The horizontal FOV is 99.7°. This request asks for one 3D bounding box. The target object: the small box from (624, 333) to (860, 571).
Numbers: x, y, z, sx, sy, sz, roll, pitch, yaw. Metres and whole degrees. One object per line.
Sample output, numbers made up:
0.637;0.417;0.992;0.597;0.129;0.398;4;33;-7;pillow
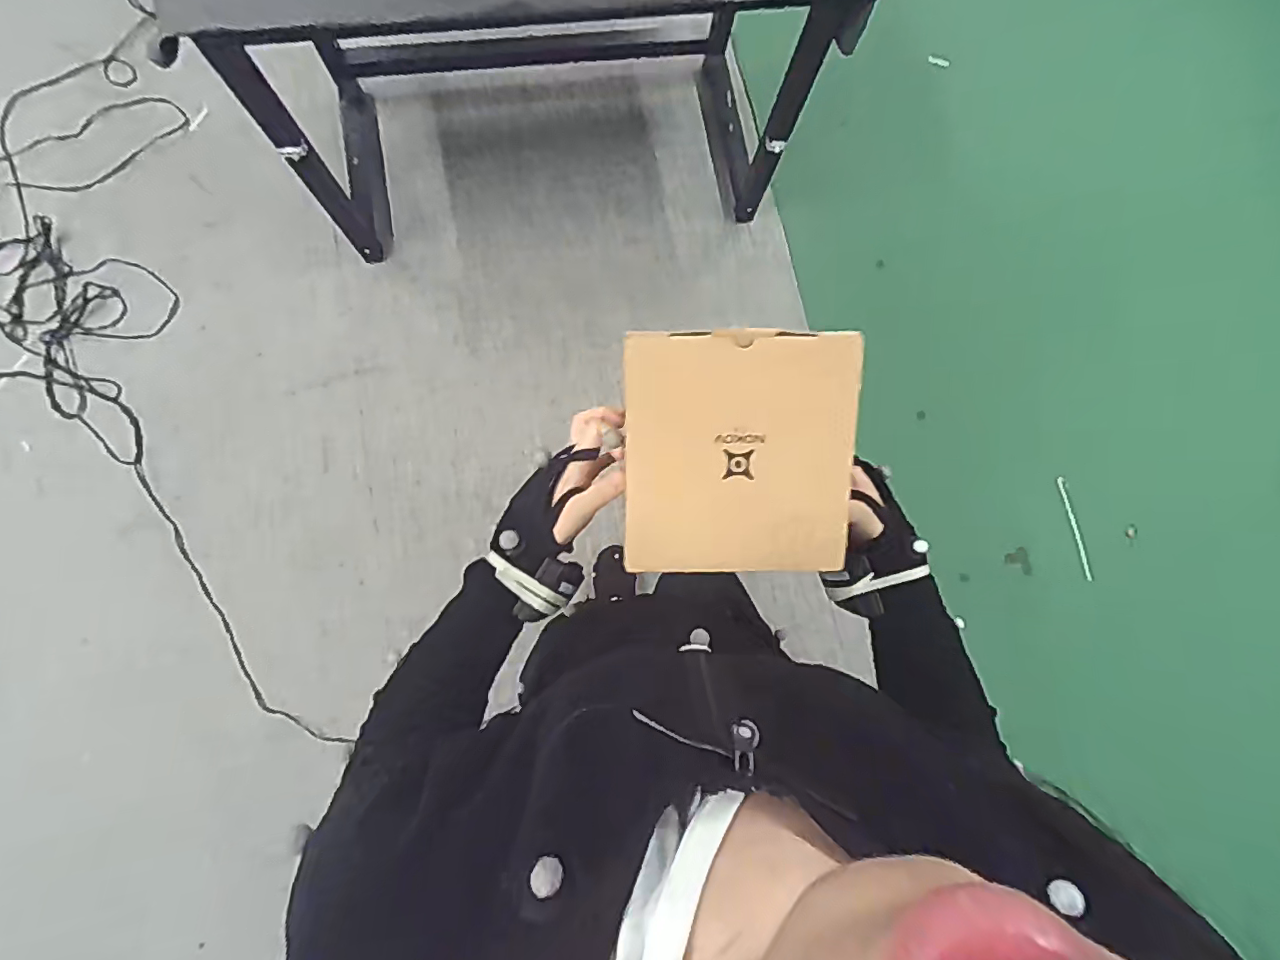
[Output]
0.072;-0.033;0.470;0.168;0.176;0.179;0;101;0;small box
